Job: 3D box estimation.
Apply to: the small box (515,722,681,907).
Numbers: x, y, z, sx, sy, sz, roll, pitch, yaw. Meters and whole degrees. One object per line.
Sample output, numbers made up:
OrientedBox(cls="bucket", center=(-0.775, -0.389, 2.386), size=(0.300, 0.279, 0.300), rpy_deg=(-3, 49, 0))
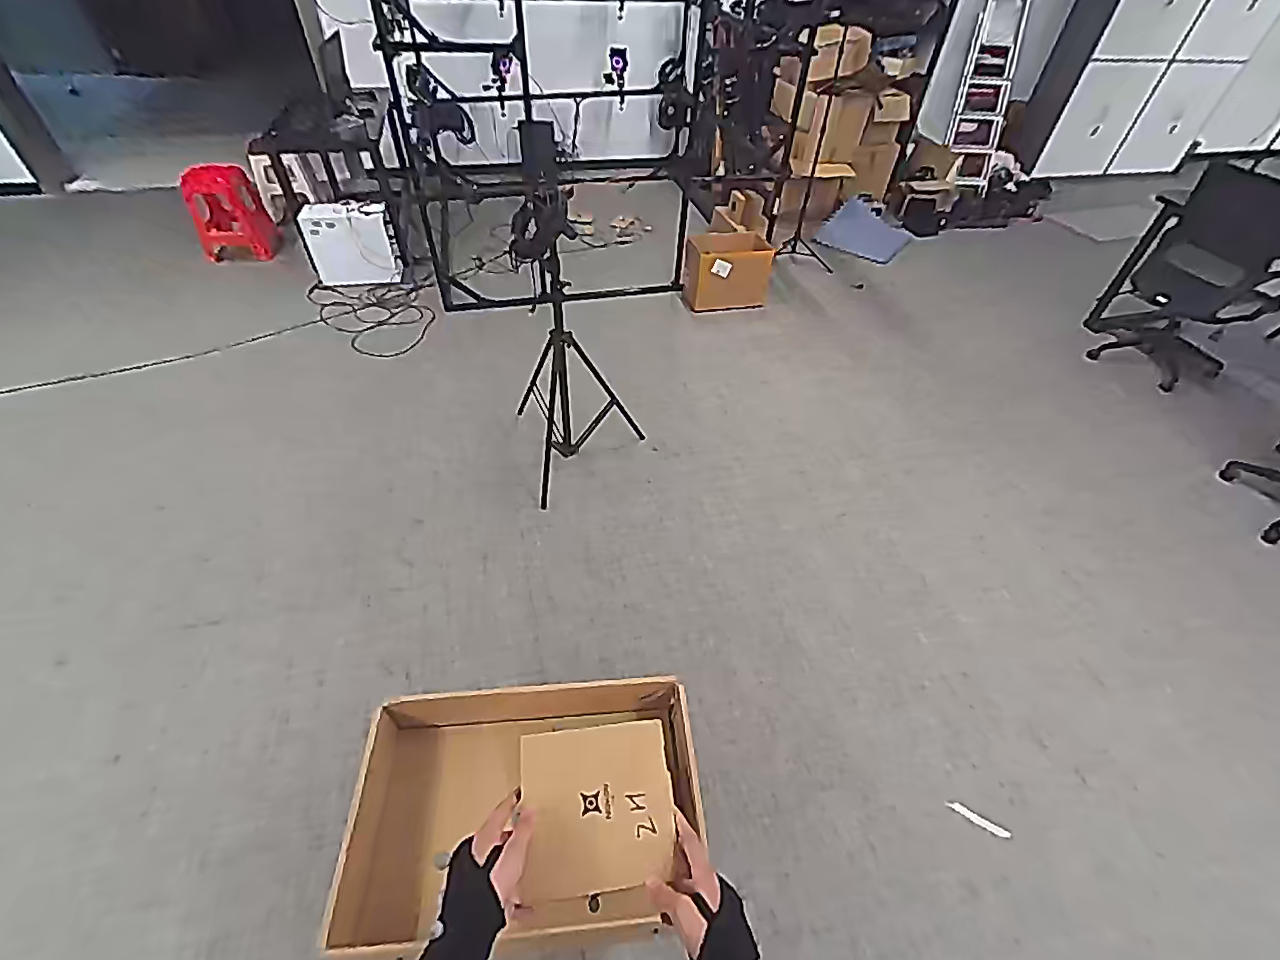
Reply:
OrientedBox(cls="small box", center=(-0.058, 0.414, 0.669), size=(0.179, 0.176, 0.168), rpy_deg=(-2, 54, -10))
